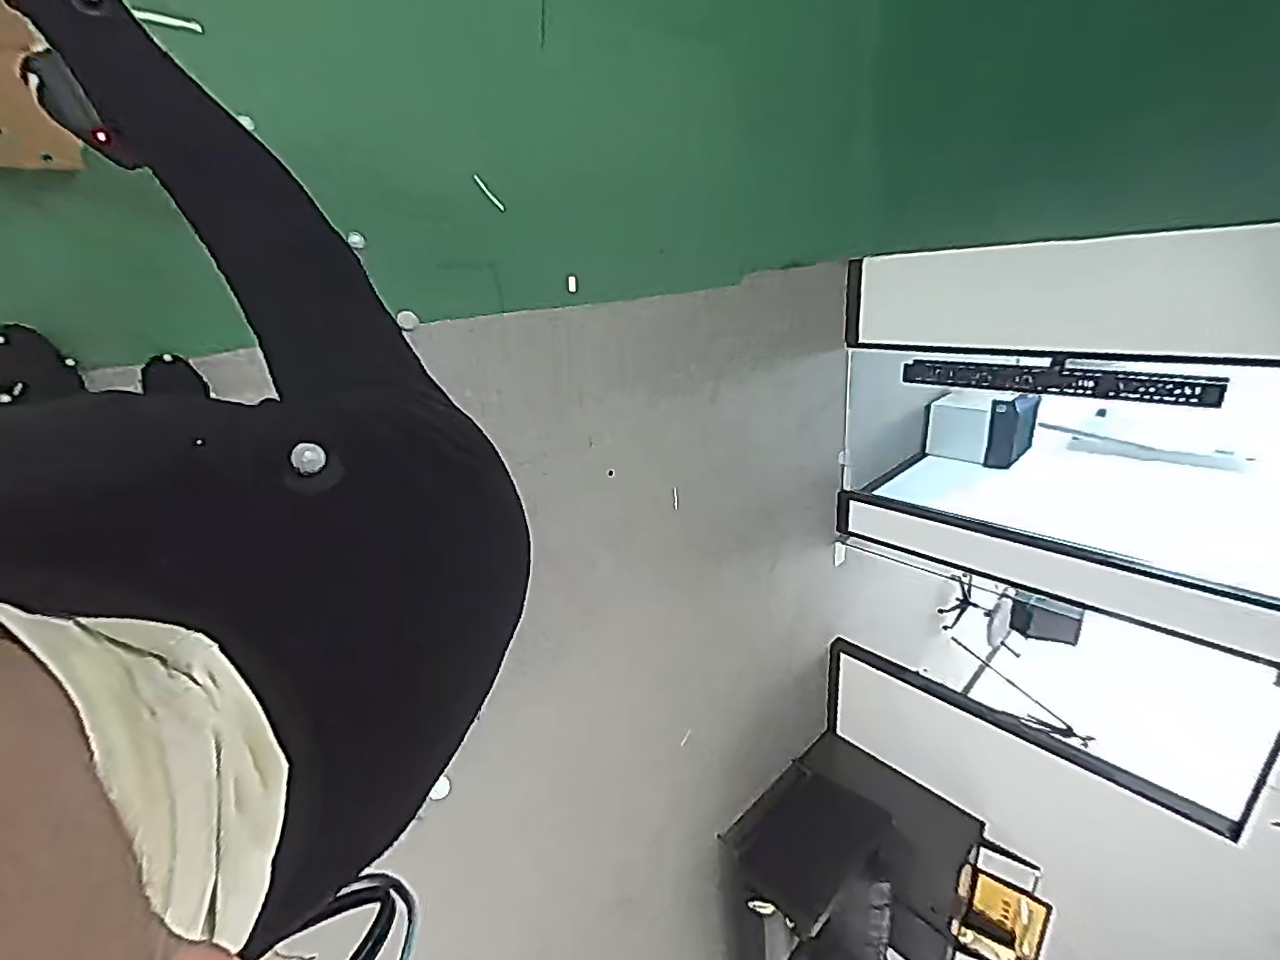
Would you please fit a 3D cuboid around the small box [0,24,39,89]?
[{"bbox_3d":[-0.798,-0.541,0.573,0.168,0.176,0.179,-24,119,-35],"label":"small box"}]

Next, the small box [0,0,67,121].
[{"bbox_3d":[-0.900,-0.578,0.695,0.179,0.176,0.168,-27,120,-35],"label":"small box"}]

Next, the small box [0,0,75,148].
[{"bbox_3d":[-1.006,-0.613,0.815,0.179,0.176,0.168,-25,118,-35],"label":"small box"}]

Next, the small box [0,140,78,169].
[{"bbox_3d":[-1.117,-0.644,0.928,0.179,0.176,0.168,-22,117,-37],"label":"small box"}]

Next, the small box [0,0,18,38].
[{"bbox_3d":[-0.689,-0.508,0.456,0.179,0.176,0.168,-23,117,-35],"label":"small box"}]
